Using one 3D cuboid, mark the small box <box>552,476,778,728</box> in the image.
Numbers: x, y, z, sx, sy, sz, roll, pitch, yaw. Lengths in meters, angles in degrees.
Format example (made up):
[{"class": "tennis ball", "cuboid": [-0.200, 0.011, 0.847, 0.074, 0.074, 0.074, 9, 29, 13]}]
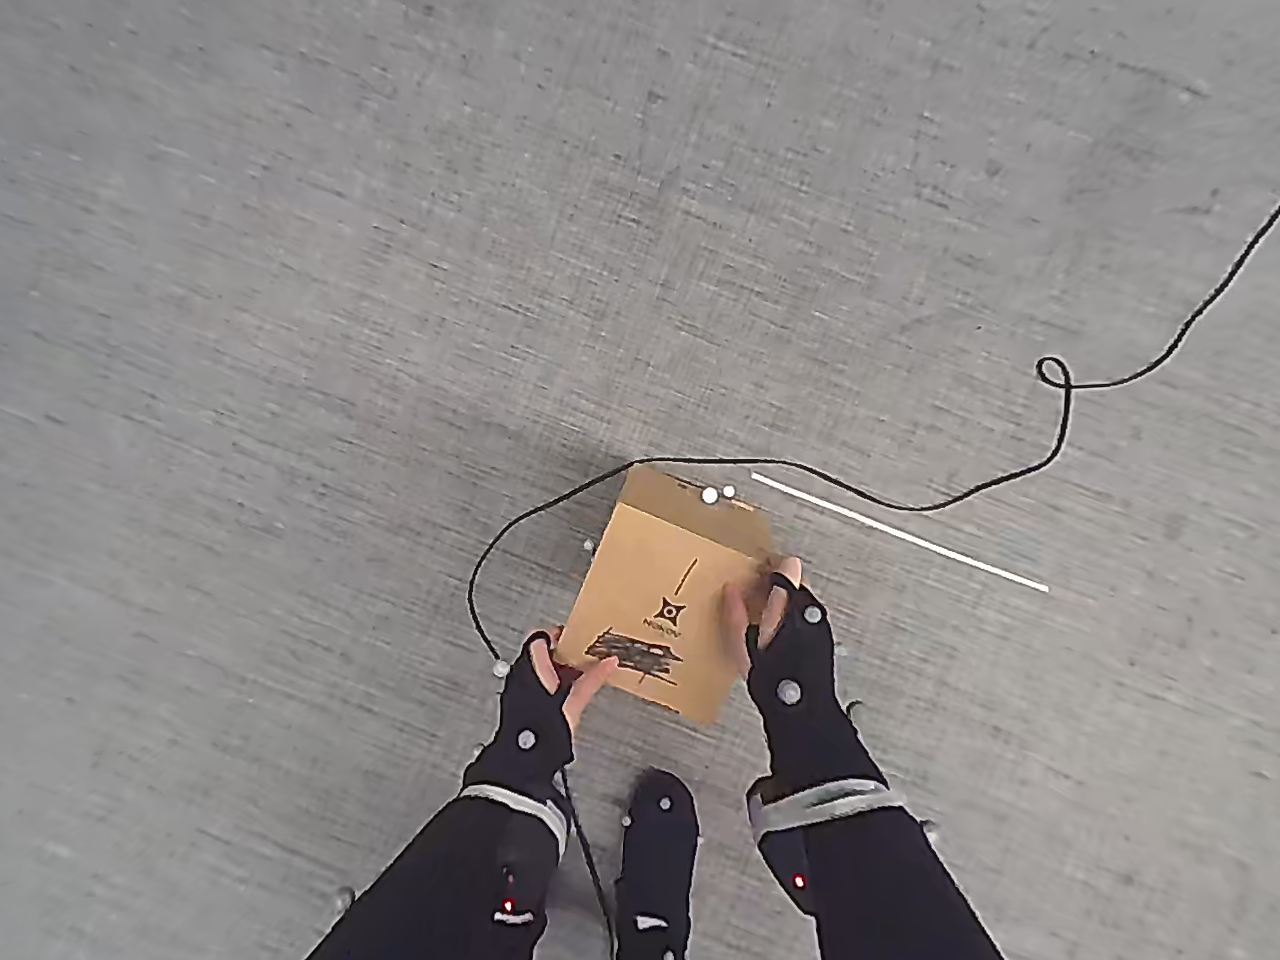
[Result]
[{"class": "small box", "cuboid": [0.028, 0.115, 0.580, 0.168, 0.176, 0.179, 22, 103, 0]}]
